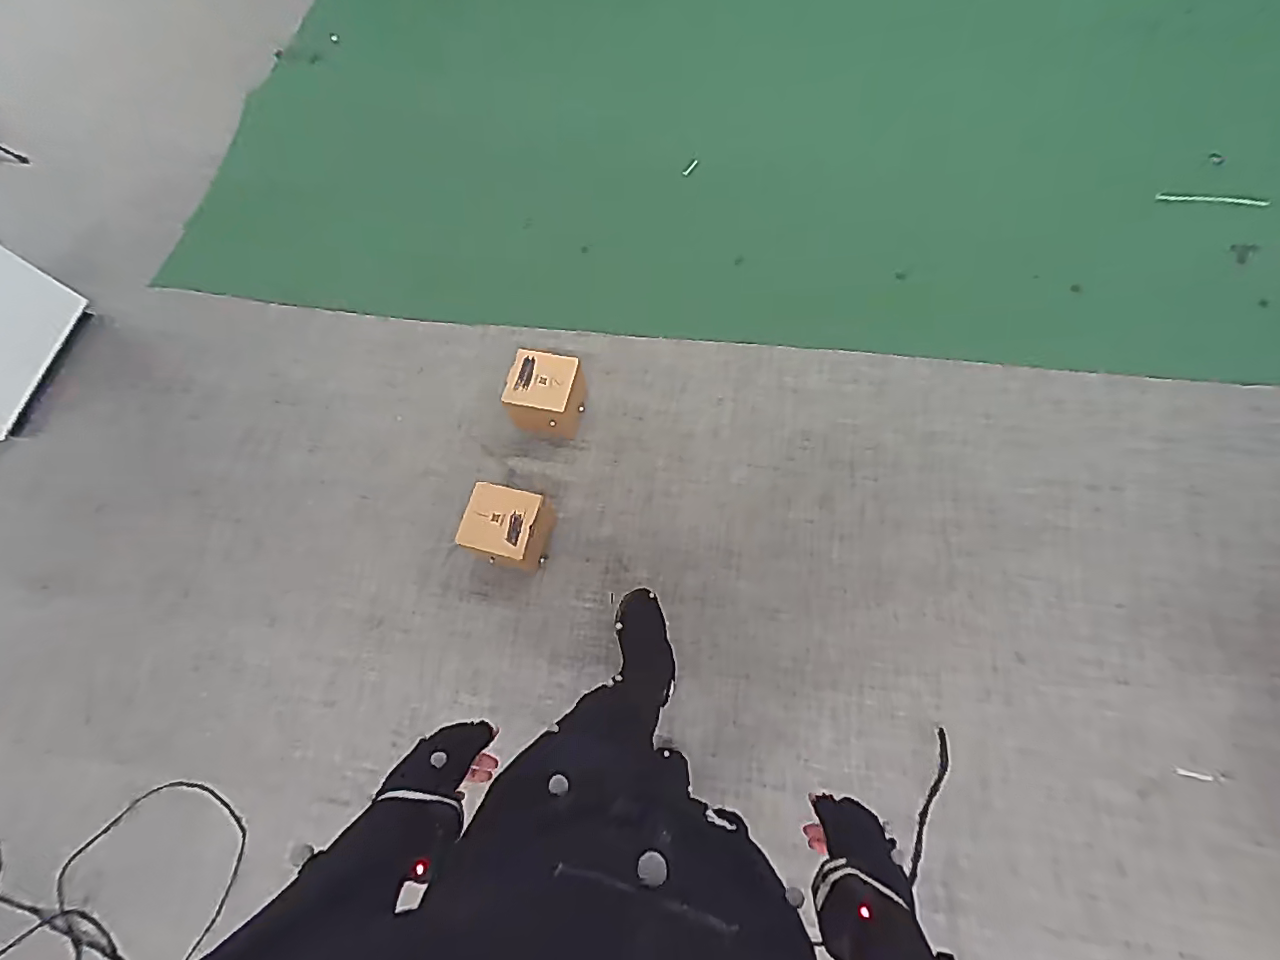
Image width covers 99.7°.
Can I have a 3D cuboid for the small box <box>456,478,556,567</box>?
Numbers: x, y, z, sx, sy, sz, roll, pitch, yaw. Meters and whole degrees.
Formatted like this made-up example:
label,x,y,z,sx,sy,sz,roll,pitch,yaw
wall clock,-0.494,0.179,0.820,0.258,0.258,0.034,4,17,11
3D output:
label,x,y,z,sx,sy,sz,roll,pitch,yaw
small box,-0.329,0.114,1.372,0.179,0.176,0.168,12,71,9
